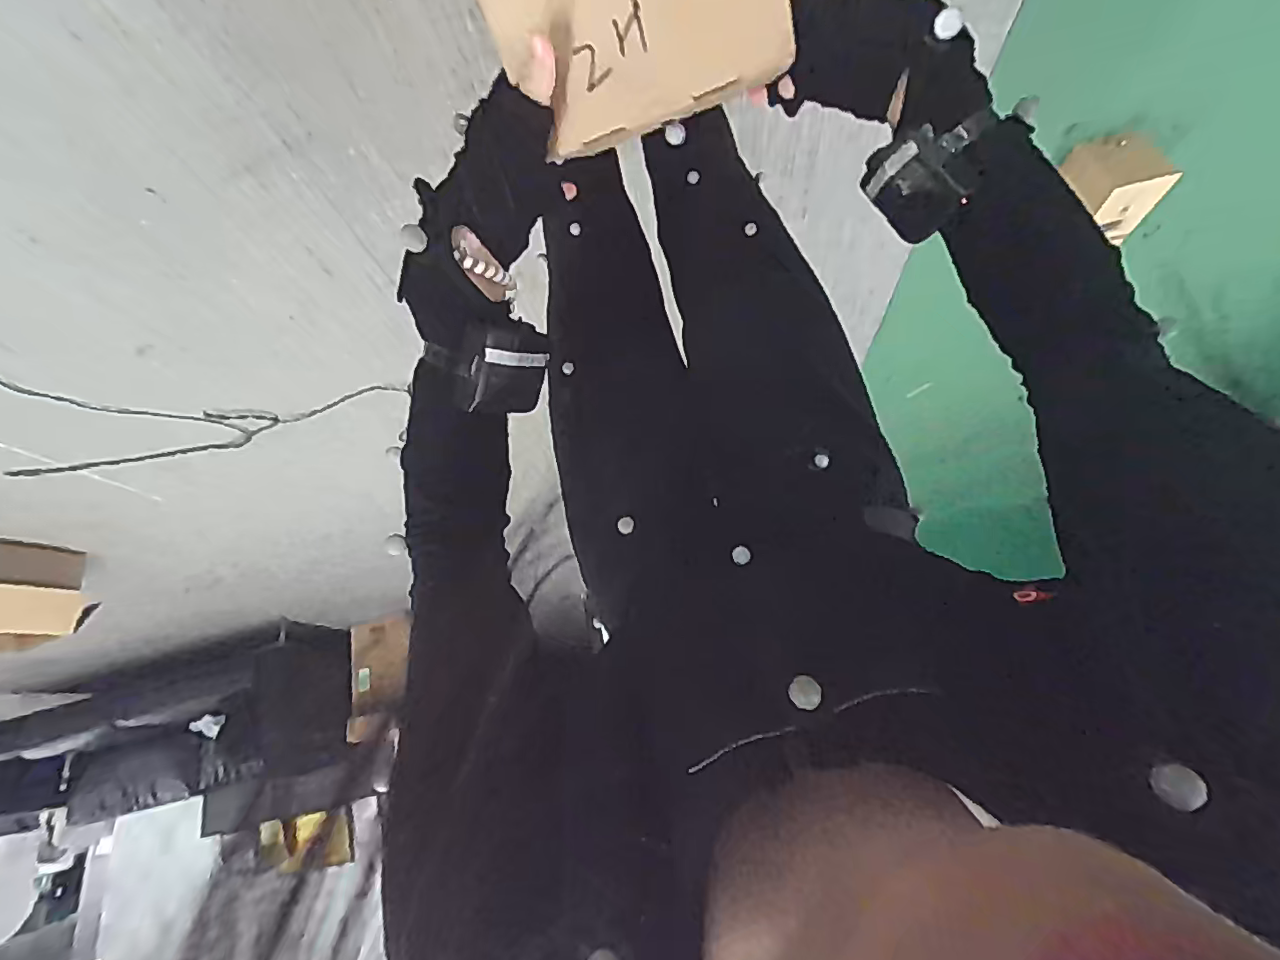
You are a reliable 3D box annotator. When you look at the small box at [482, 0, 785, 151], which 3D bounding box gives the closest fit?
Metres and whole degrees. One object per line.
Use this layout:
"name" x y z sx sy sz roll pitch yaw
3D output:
"small box" -0.007 -0.343 0.361 0.168 0.176 0.179 -12 120 16
